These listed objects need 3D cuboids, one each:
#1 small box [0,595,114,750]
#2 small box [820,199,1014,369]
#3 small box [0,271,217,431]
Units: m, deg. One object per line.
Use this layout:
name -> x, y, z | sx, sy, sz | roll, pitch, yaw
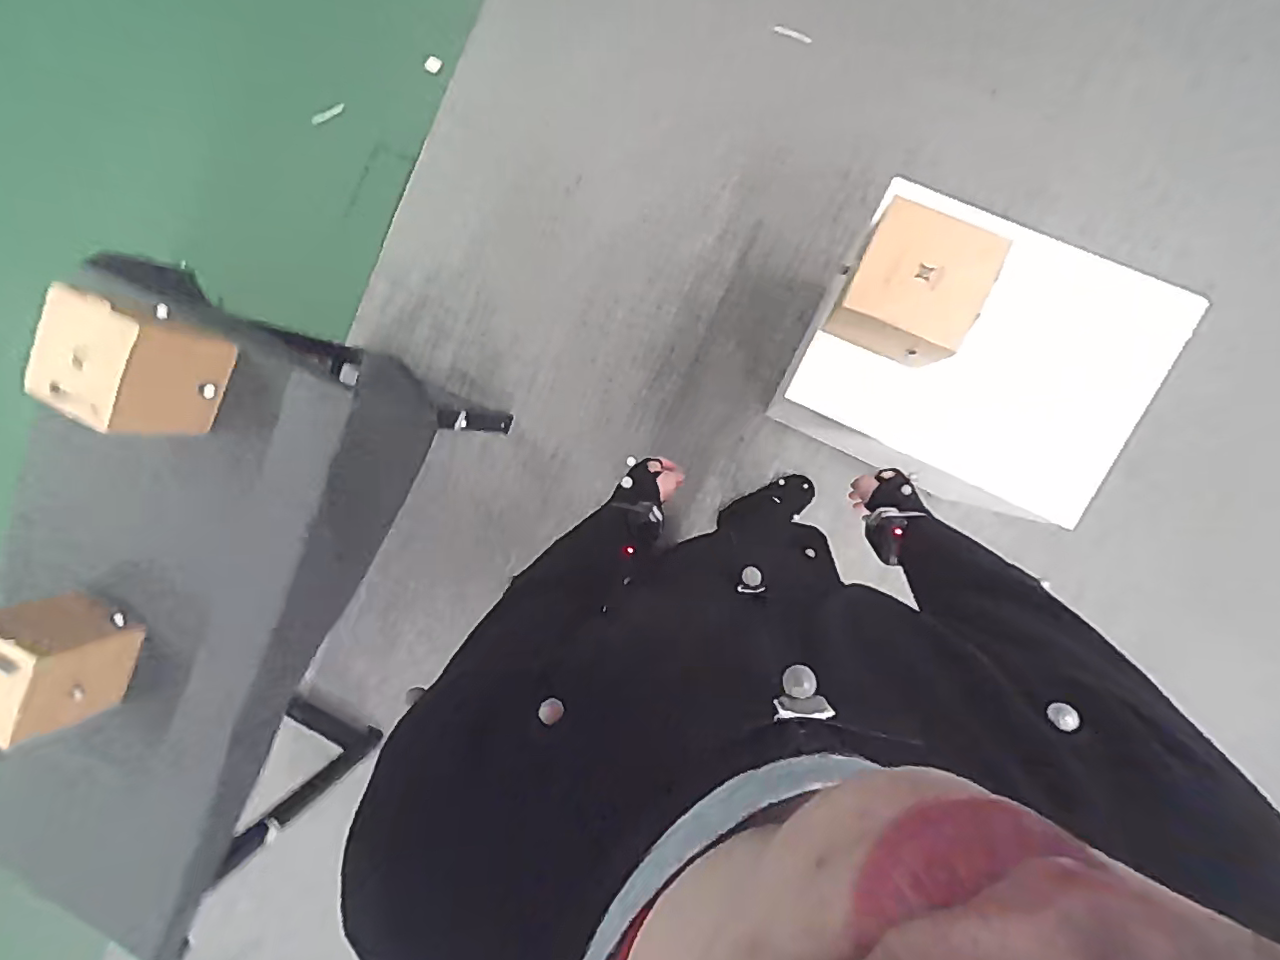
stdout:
small box -> -1.051, 0.317, 0.907 | 0.168, 0.176, 0.179 | 27, 97, 6
small box -> 0.399, -0.278, 0.813 | 0.179, 0.176, 0.168 | 25, 95, 6
small box -> -0.821, -0.190, 0.848 | 0.168, 0.176, 0.179 | 27, 96, 6
